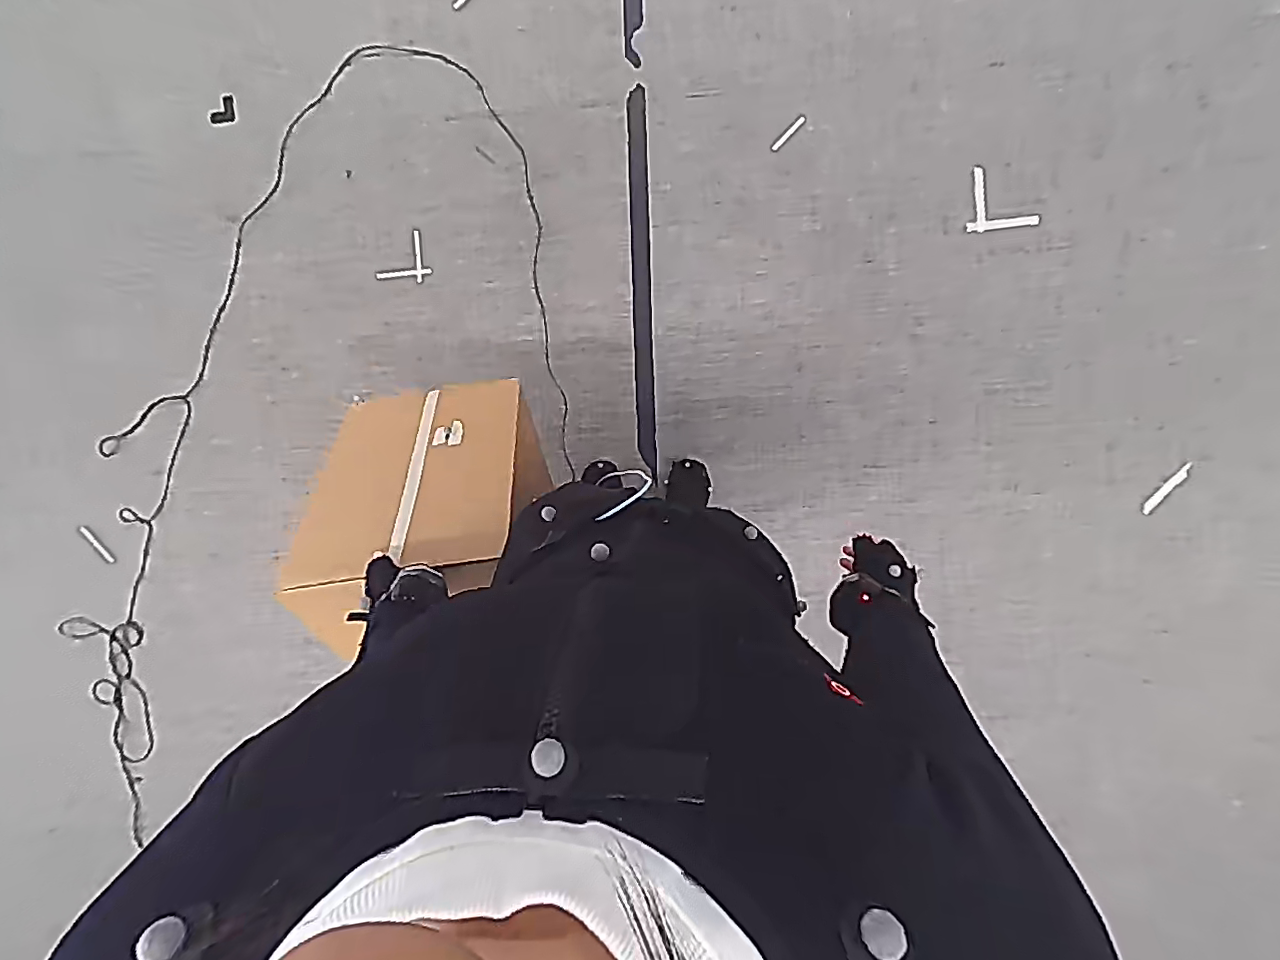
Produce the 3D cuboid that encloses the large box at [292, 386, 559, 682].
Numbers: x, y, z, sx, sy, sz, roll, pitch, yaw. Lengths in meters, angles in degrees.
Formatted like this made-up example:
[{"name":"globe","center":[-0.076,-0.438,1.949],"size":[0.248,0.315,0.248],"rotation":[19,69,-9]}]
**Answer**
[{"name":"large box","center":[-0.332,0.091,0.977],"size":[0.320,0.408,0.320],"rotation":[-8,136,0]}]
